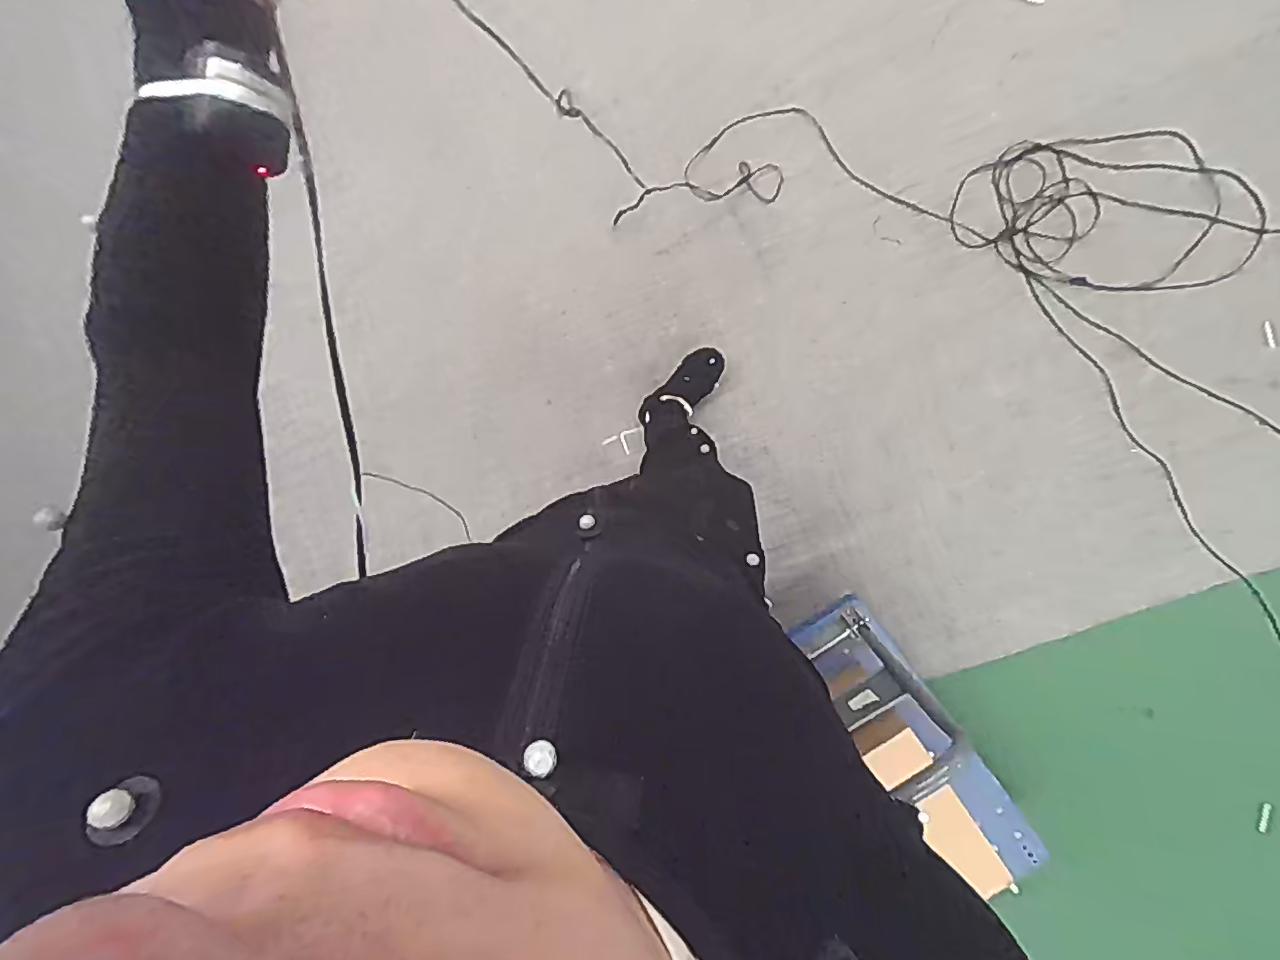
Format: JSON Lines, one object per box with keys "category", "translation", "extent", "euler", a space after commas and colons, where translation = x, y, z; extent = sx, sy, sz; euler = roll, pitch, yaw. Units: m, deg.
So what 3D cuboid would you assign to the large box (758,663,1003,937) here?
{"category": "large box", "translation": [0.542, 0.734, 1.298], "extent": [0.320, 0.320, 0.408], "euler": [-34, 93, 7]}
